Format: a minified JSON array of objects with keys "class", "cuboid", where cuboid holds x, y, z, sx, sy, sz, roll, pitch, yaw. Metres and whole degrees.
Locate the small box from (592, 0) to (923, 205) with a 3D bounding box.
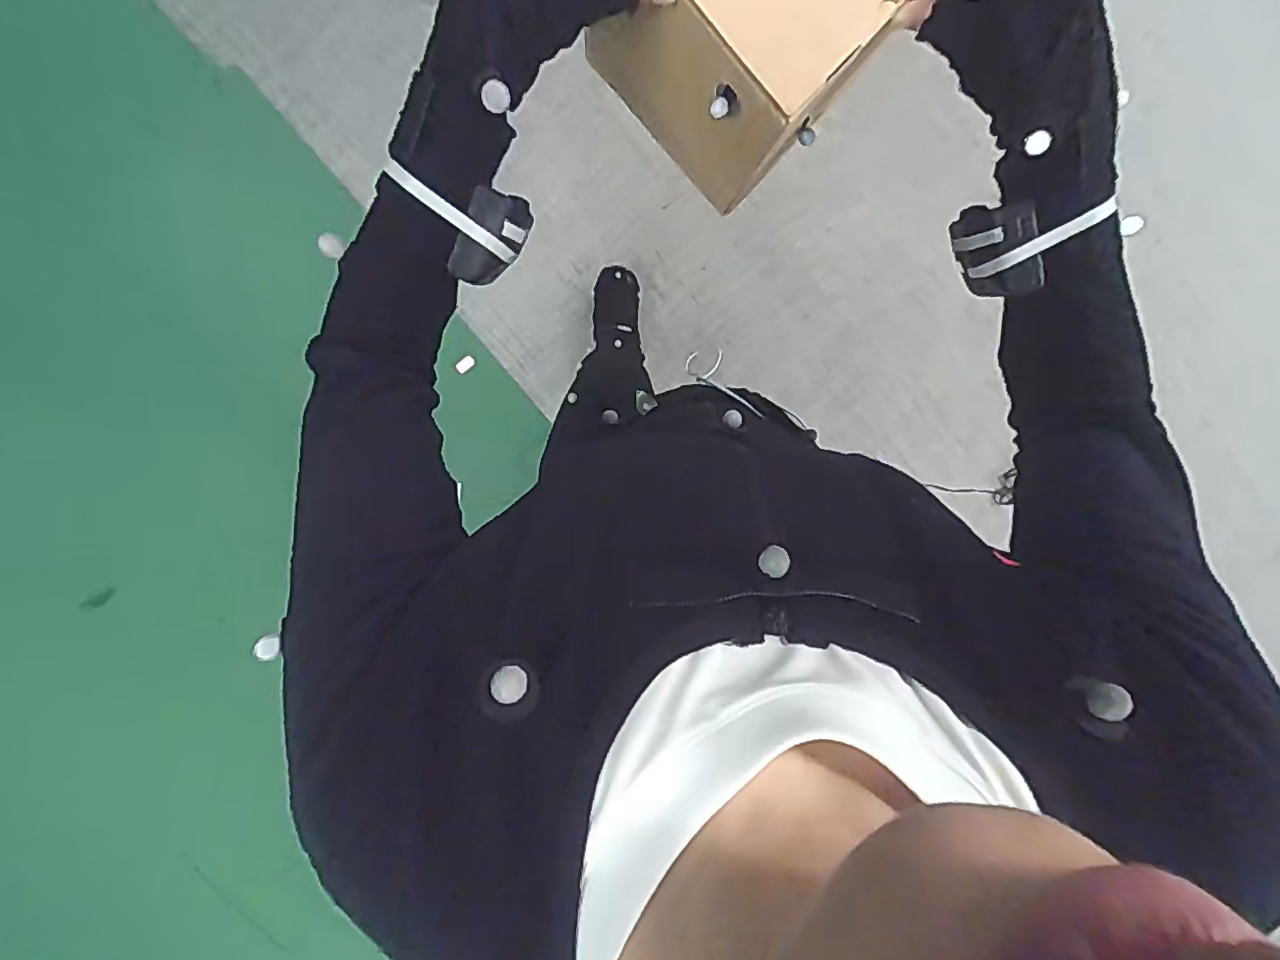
[{"class":"small box","cuboid":[0.077,-0.342,0.390,0.168,0.176,0.179,-45,100,2]}]
